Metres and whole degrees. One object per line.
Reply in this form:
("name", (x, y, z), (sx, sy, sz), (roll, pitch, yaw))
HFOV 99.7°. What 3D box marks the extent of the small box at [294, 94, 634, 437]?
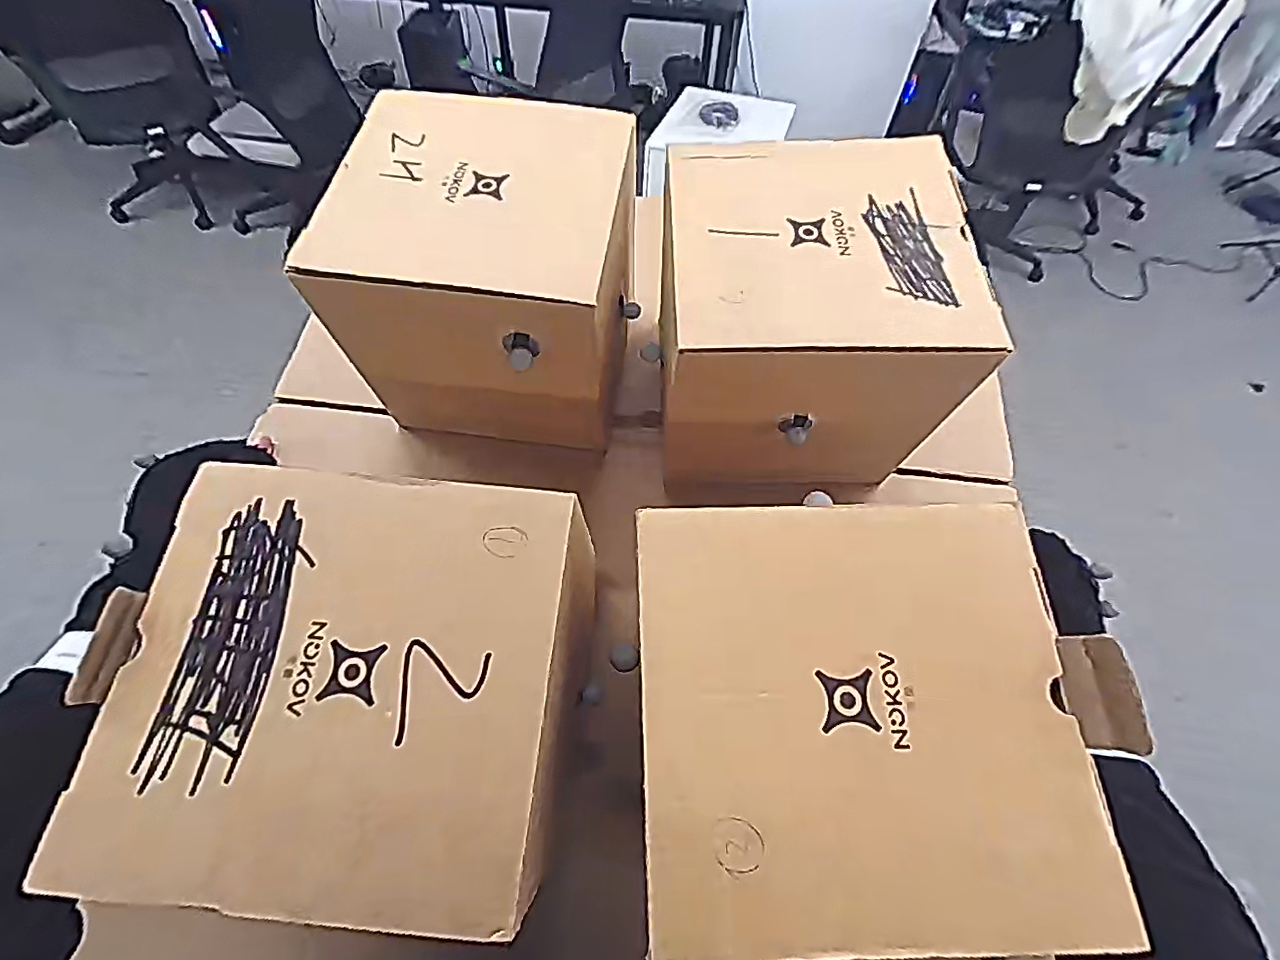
("small box", (-0.102, -0.148, 0.410), (0.179, 0.176, 0.168), (8, 65, 3))
